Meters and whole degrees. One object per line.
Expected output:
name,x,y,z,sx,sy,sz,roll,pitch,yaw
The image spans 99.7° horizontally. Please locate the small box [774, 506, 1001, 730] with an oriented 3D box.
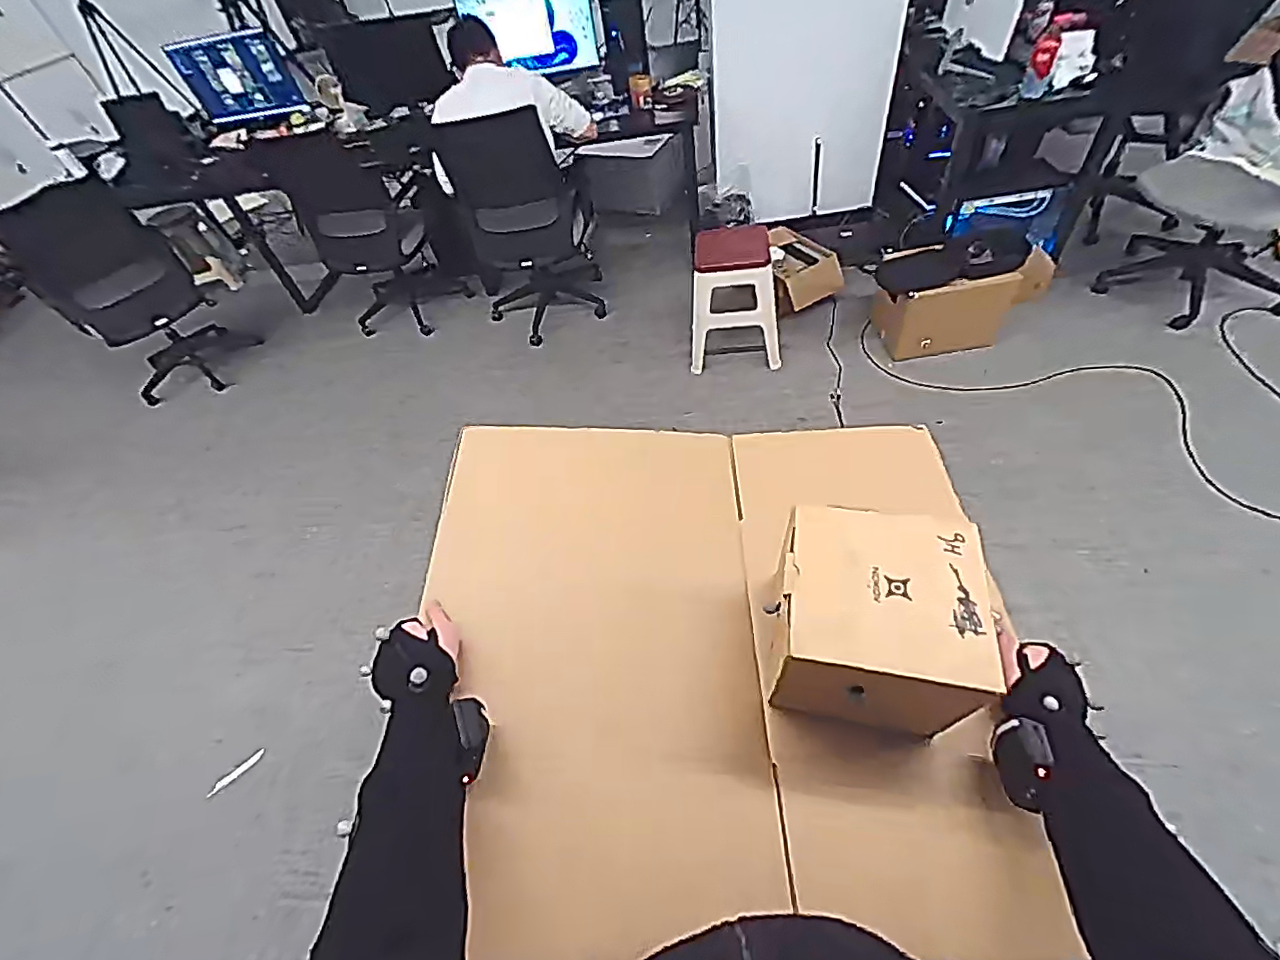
small box,0.240,0.148,0.570,0.179,0.176,0.168,7,55,12
